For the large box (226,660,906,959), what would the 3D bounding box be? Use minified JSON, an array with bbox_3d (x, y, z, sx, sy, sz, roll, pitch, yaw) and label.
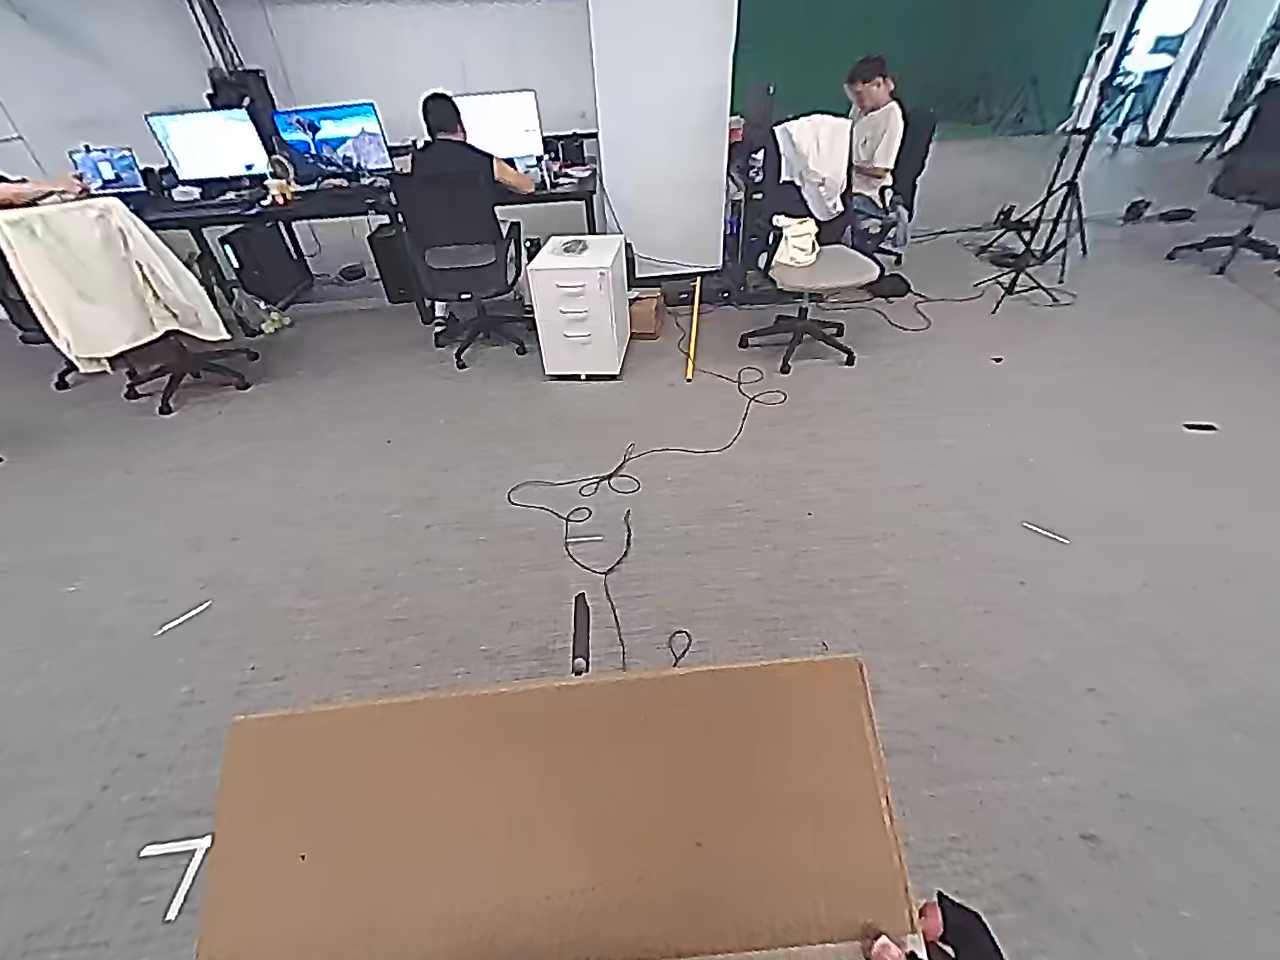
[{"bbox_3d":[-0.037,0.335,0.451,0.408,0.320,0.320,-6,71,1],"label":"large box"}]
